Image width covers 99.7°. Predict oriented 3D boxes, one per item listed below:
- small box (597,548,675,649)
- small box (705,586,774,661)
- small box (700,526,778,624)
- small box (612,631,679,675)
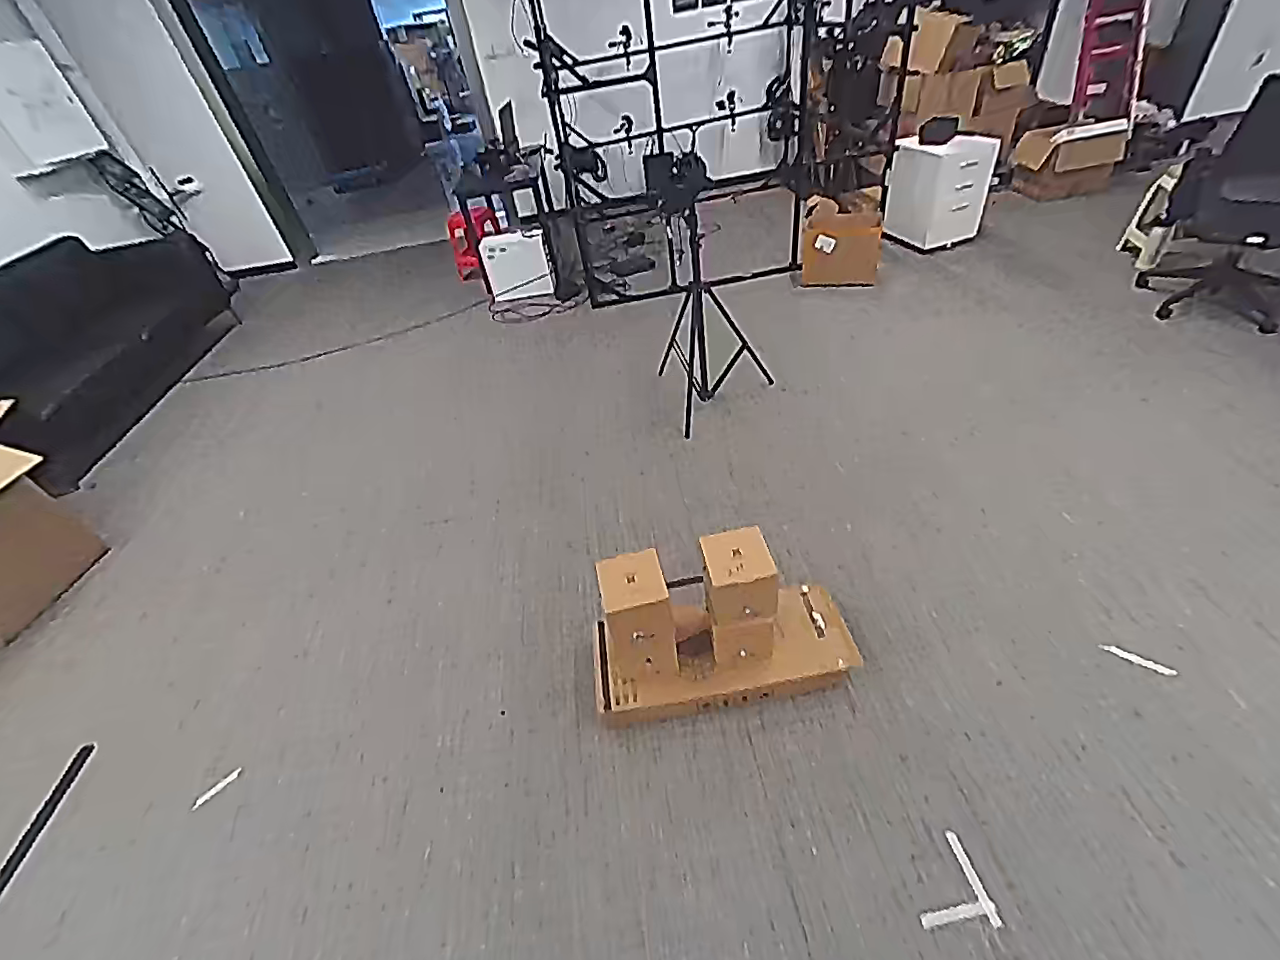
[{"bbox_3d":[-0.012,0.314,1.431,0.168,0.176,0.179,-14,41,-4],"label":"small box"},{"bbox_3d":[0.278,0.388,1.537,0.168,0.176,0.179,-9,41,3],"label":"small box"},{"bbox_3d":[0.259,0.253,1.441,0.168,0.176,0.179,-11,40,0],"label":"small box"},{"bbox_3d":[0.014,0.435,1.537,0.168,0.176,0.179,-10,41,1],"label":"small box"}]
